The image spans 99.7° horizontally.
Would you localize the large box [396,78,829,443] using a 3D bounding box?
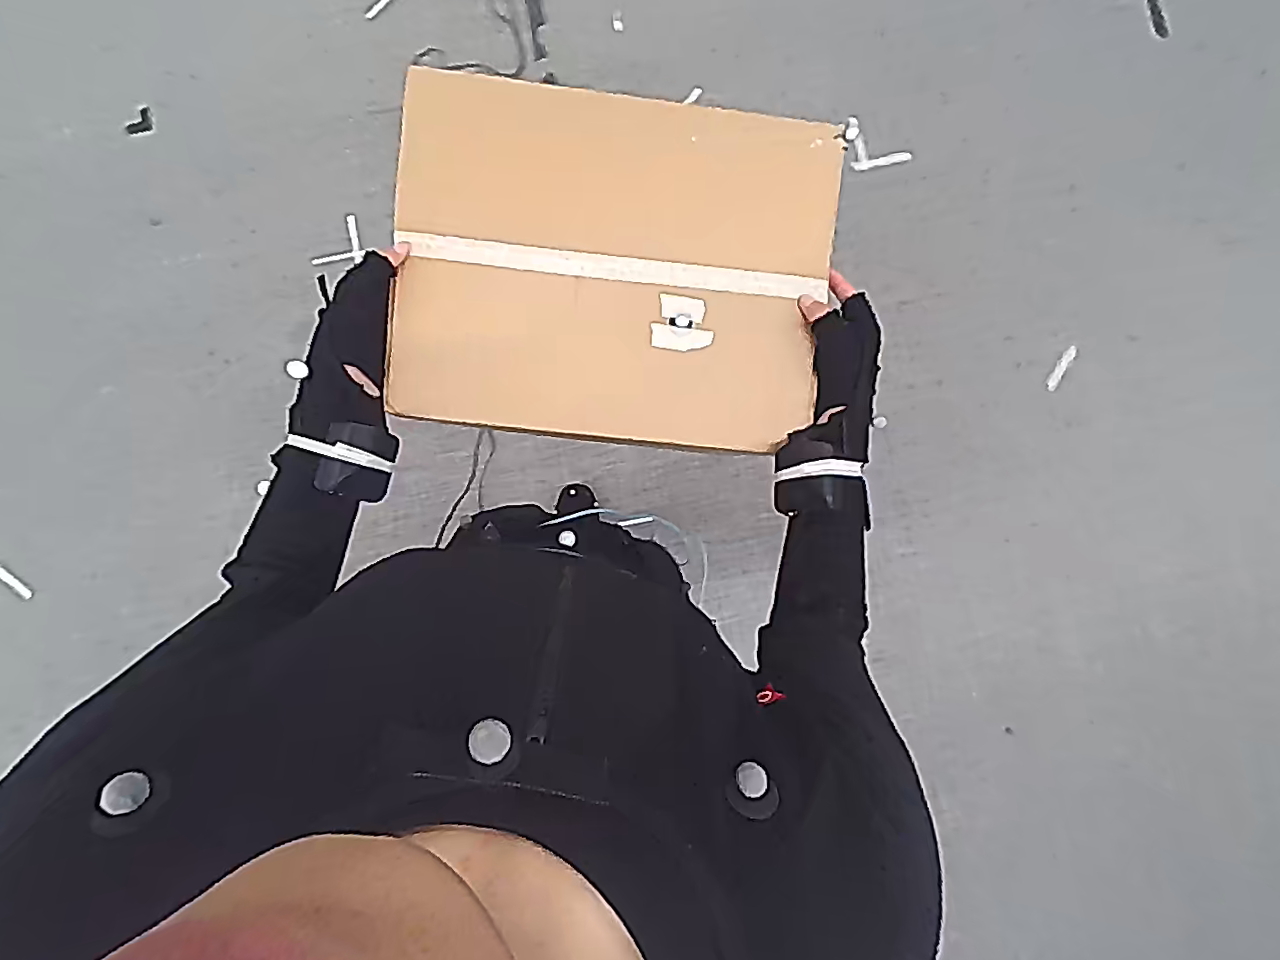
[{"bbox_3d":[-0.036,-0.215,0.666,0.408,0.320,0.320,5,94,-4],"label":"large box"}]
